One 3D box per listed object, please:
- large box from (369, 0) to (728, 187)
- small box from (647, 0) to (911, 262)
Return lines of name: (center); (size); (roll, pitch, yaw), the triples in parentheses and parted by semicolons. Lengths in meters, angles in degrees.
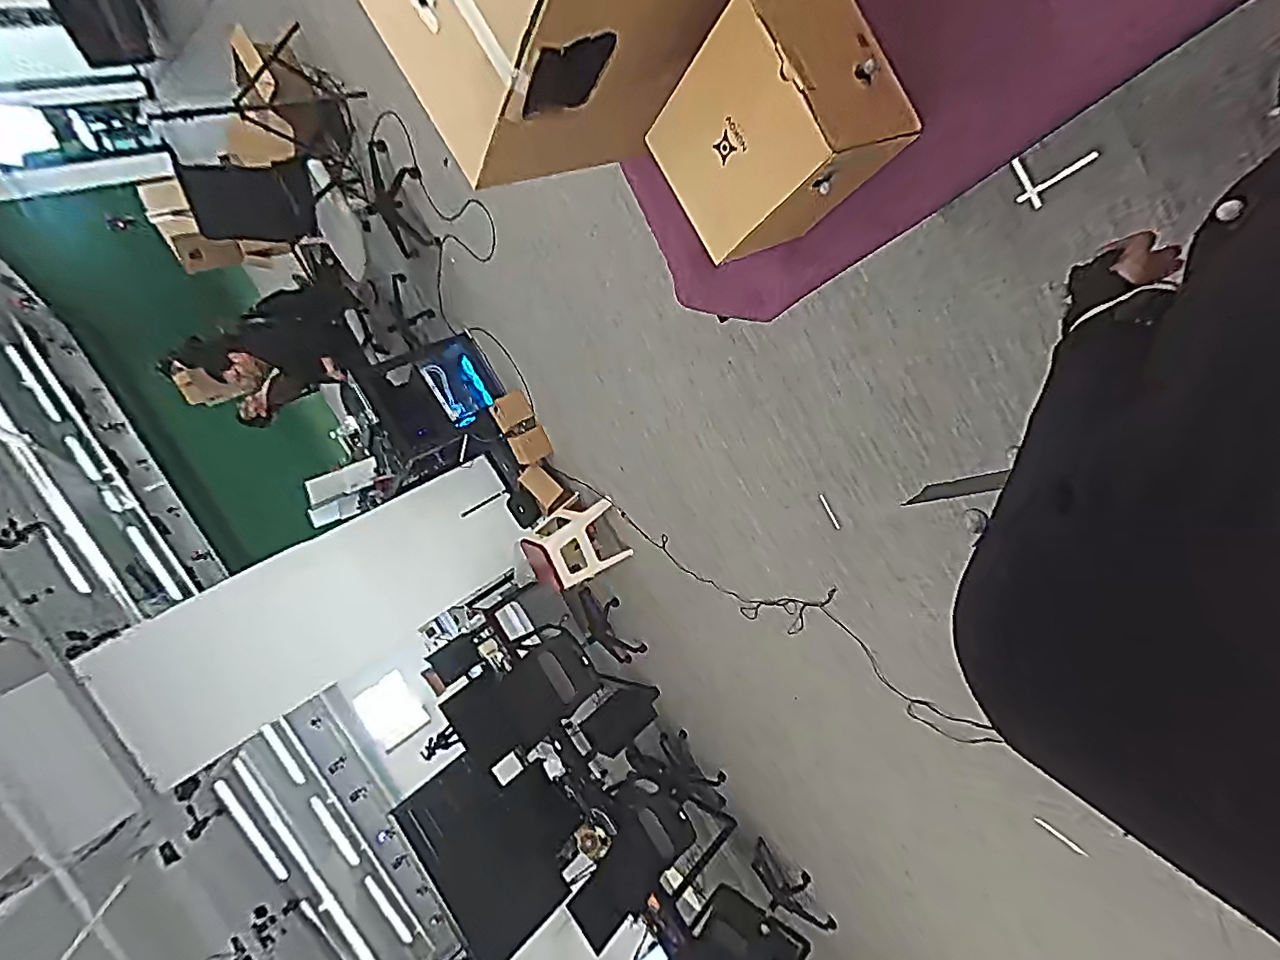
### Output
large box: (-0.104, -0.612, 0.570); (0.408, 0.320, 0.320); (57, 148, -5)
small box: (0.145, -0.369, 0.579); (0.168, 0.176, 0.179); (59, 148, -2)
